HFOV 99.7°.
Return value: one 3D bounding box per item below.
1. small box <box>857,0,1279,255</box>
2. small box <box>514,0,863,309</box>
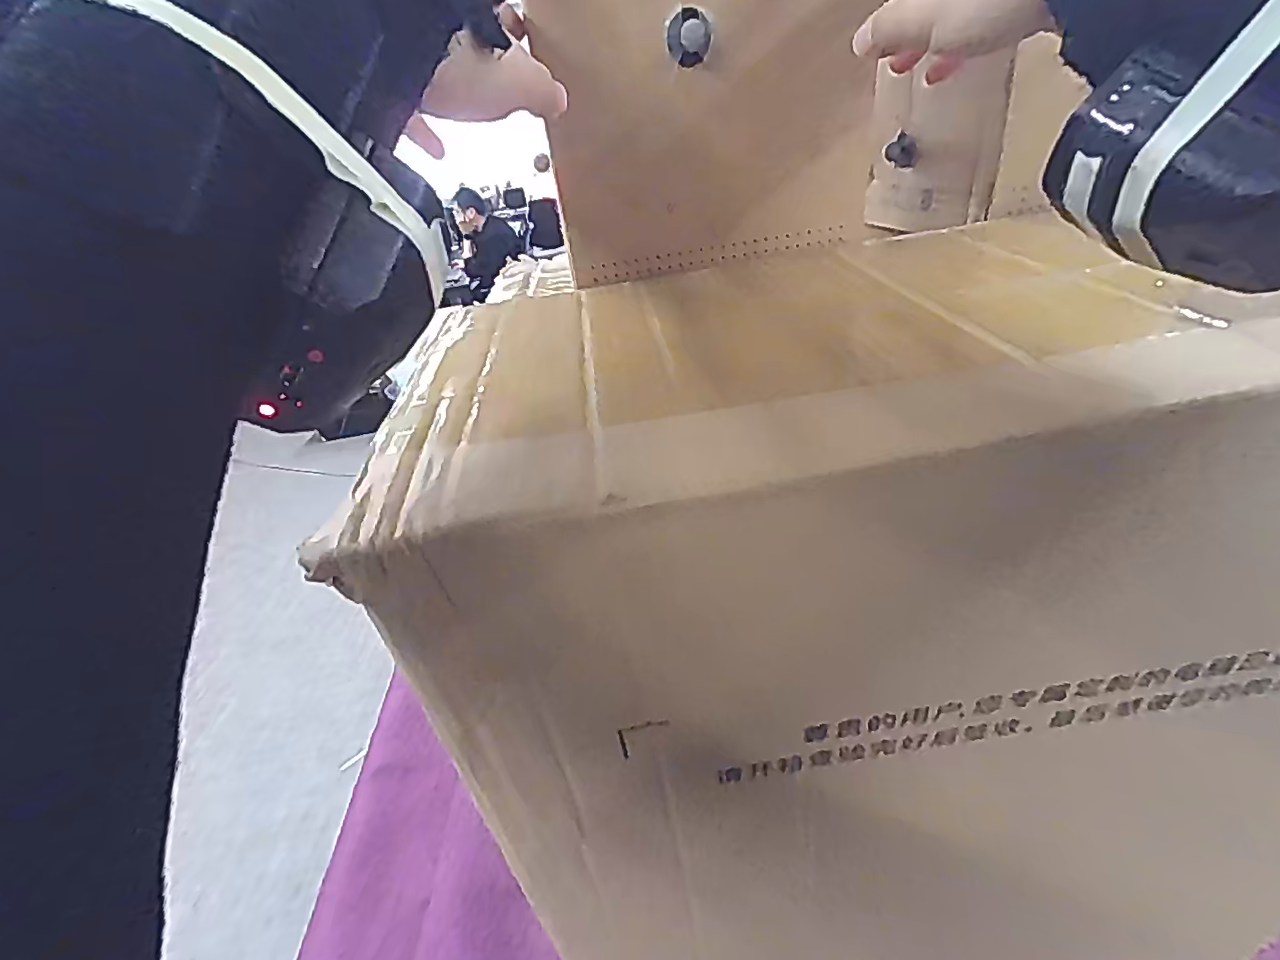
[{"bbox_3d":[0.267,-0.267,0.365,0.179,0.176,0.168,-14,32,-3],"label":"small box"},{"bbox_3d":[0.028,-0.219,0.352,0.179,0.176,0.168,-8,33,-2],"label":"small box"}]
